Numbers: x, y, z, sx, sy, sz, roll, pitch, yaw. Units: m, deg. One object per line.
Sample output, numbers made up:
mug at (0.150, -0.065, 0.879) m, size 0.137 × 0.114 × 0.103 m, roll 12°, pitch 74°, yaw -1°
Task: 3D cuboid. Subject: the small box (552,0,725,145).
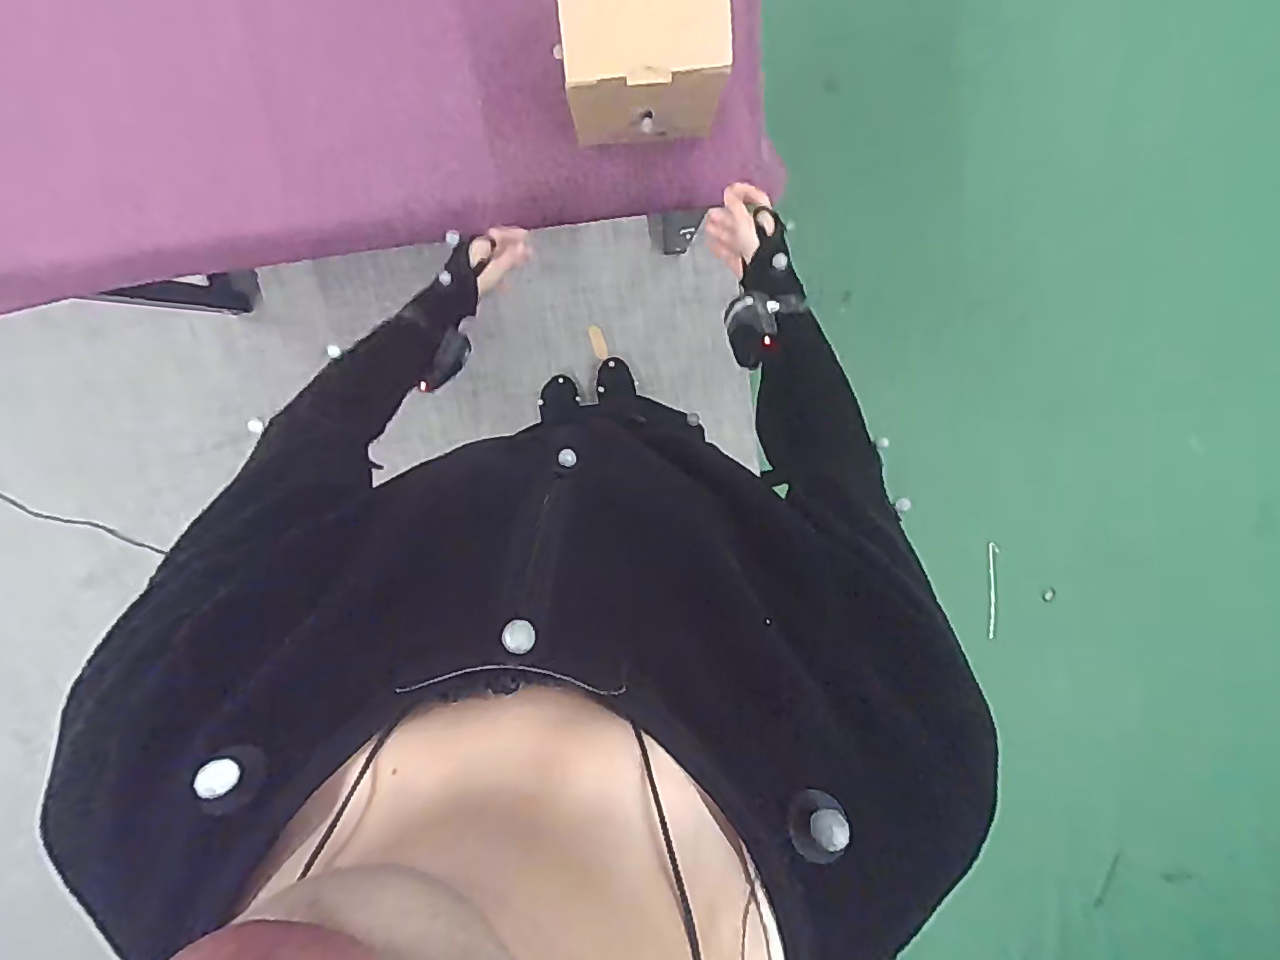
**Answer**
small box at (-0.003, -0.485, 0.587) m, size 0.168 × 0.176 × 0.179 m, roll -5°, pitch 104°, yaw 0°
